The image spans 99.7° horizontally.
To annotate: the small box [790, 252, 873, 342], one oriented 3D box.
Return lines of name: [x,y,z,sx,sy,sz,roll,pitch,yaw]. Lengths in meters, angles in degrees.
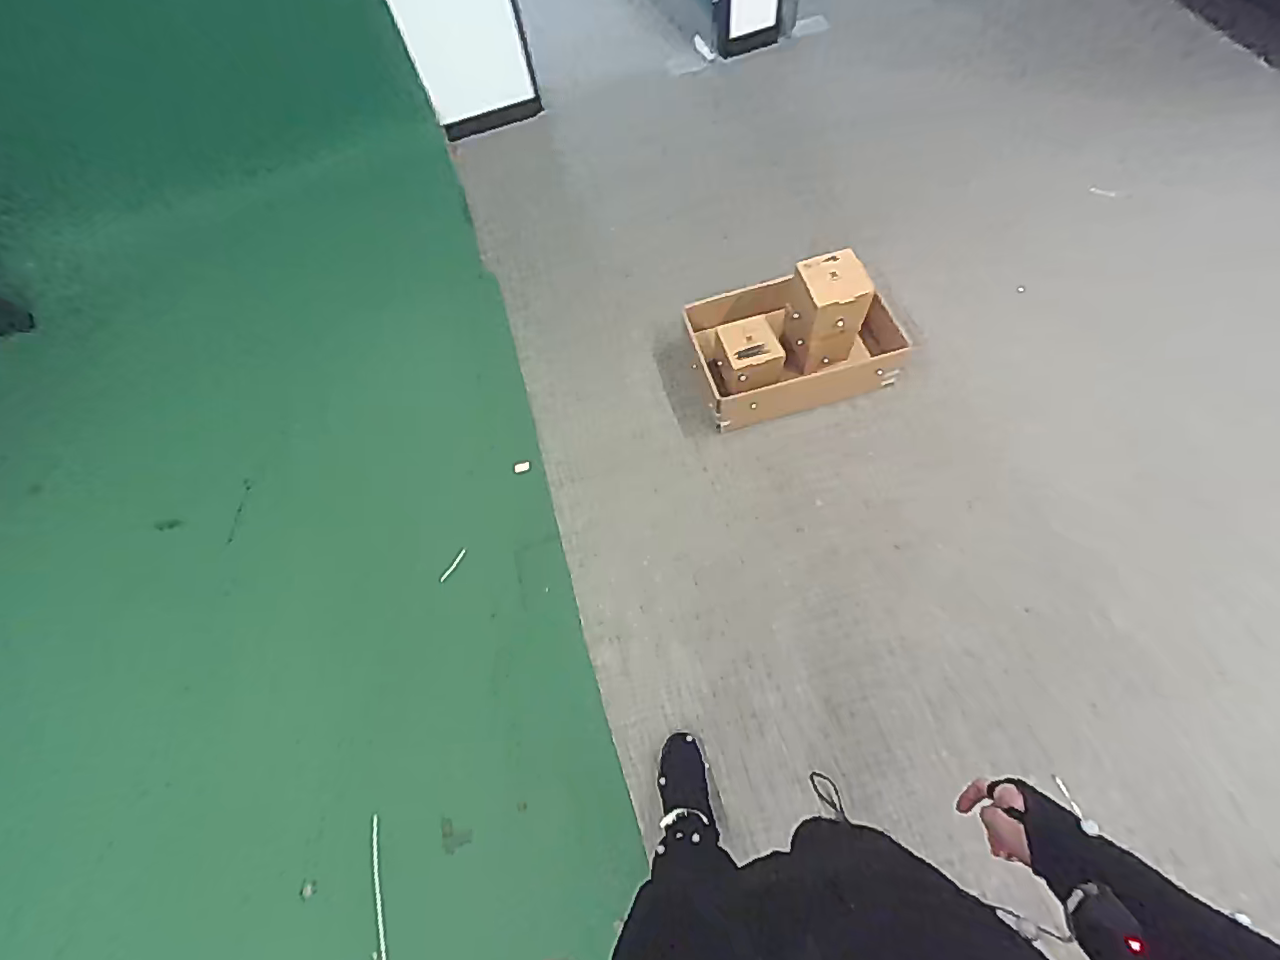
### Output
small box: [0.557,-0.531,1.597,0.168,0.176,0.179,-15,66,1]
